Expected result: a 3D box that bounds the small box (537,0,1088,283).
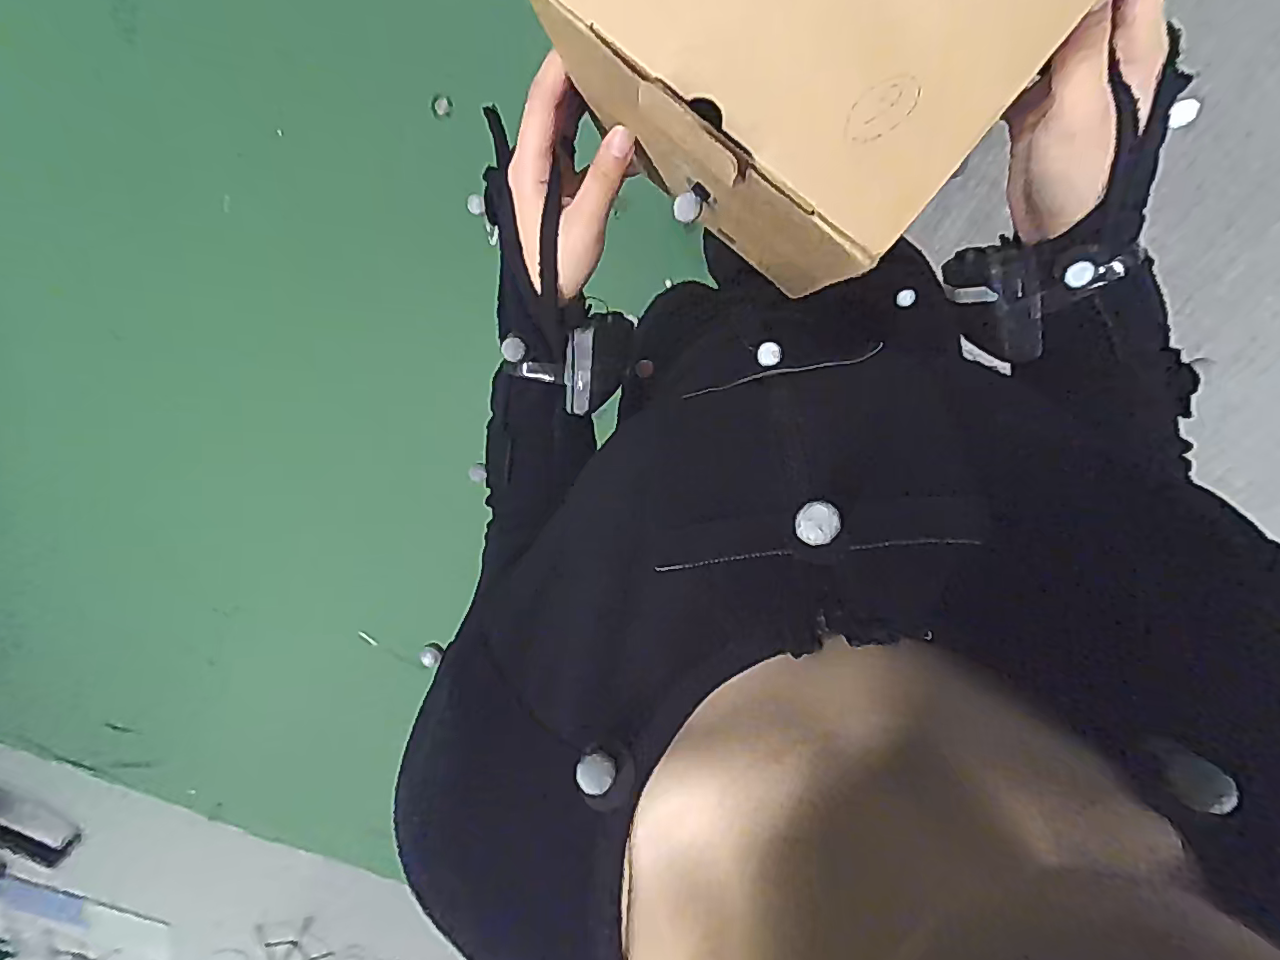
[{"bbox_3d":[0.085,-0.216,0.257,0.168,0.176,0.179,38,106,-4],"label":"small box"}]
